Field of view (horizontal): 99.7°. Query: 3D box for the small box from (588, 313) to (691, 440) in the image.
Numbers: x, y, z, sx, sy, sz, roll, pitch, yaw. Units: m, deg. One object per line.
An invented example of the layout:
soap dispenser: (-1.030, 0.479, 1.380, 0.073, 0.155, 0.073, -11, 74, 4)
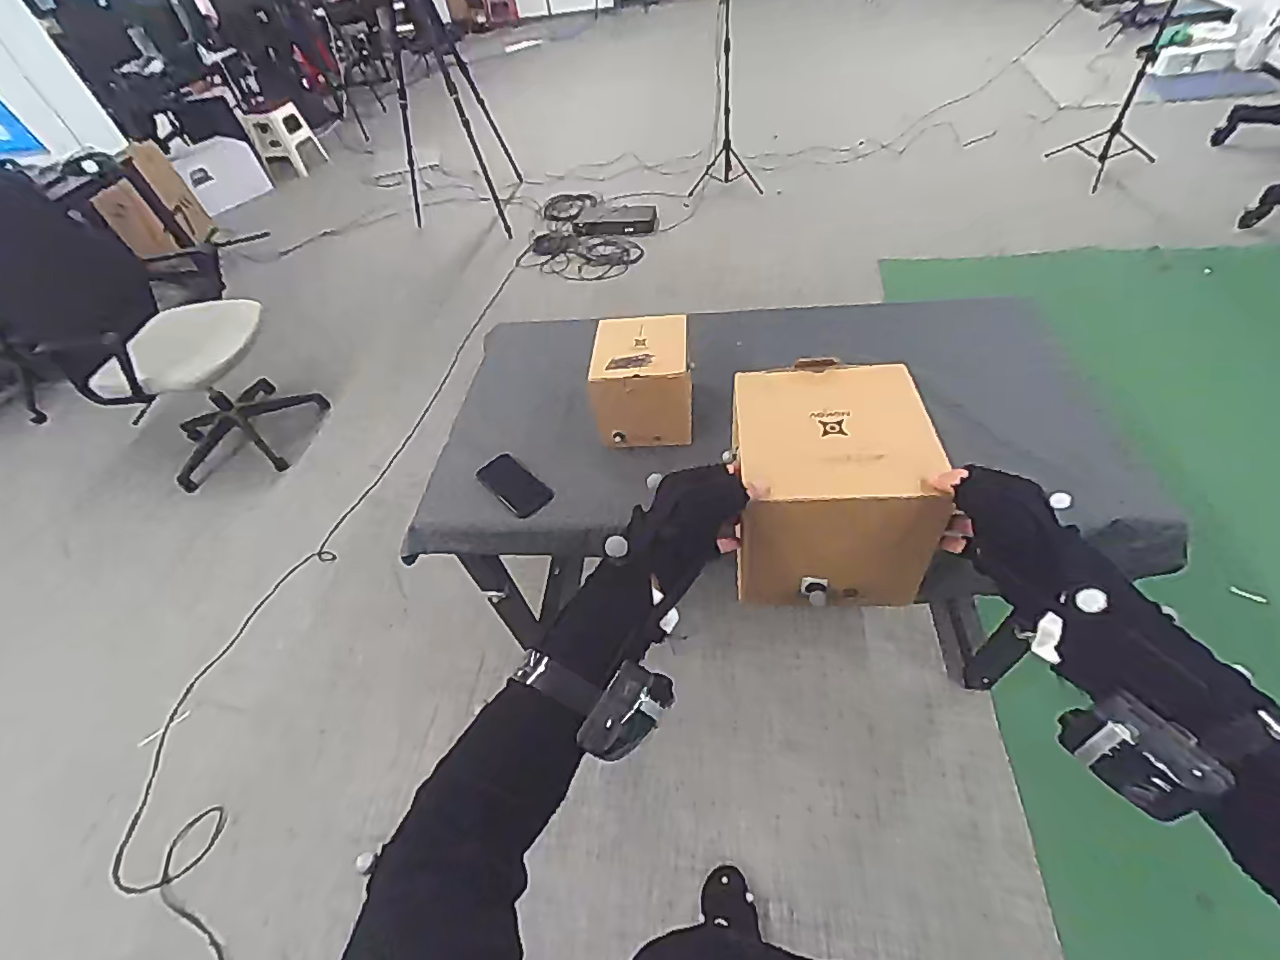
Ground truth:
small box: (0.009, -0.187, 1.008, 0.168, 0.176, 0.179, -1, 49, 7)

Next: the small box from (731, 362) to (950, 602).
small box: (0.178, 0.002, 0.545, 0.168, 0.176, 0.179, -1, 48, 8)
